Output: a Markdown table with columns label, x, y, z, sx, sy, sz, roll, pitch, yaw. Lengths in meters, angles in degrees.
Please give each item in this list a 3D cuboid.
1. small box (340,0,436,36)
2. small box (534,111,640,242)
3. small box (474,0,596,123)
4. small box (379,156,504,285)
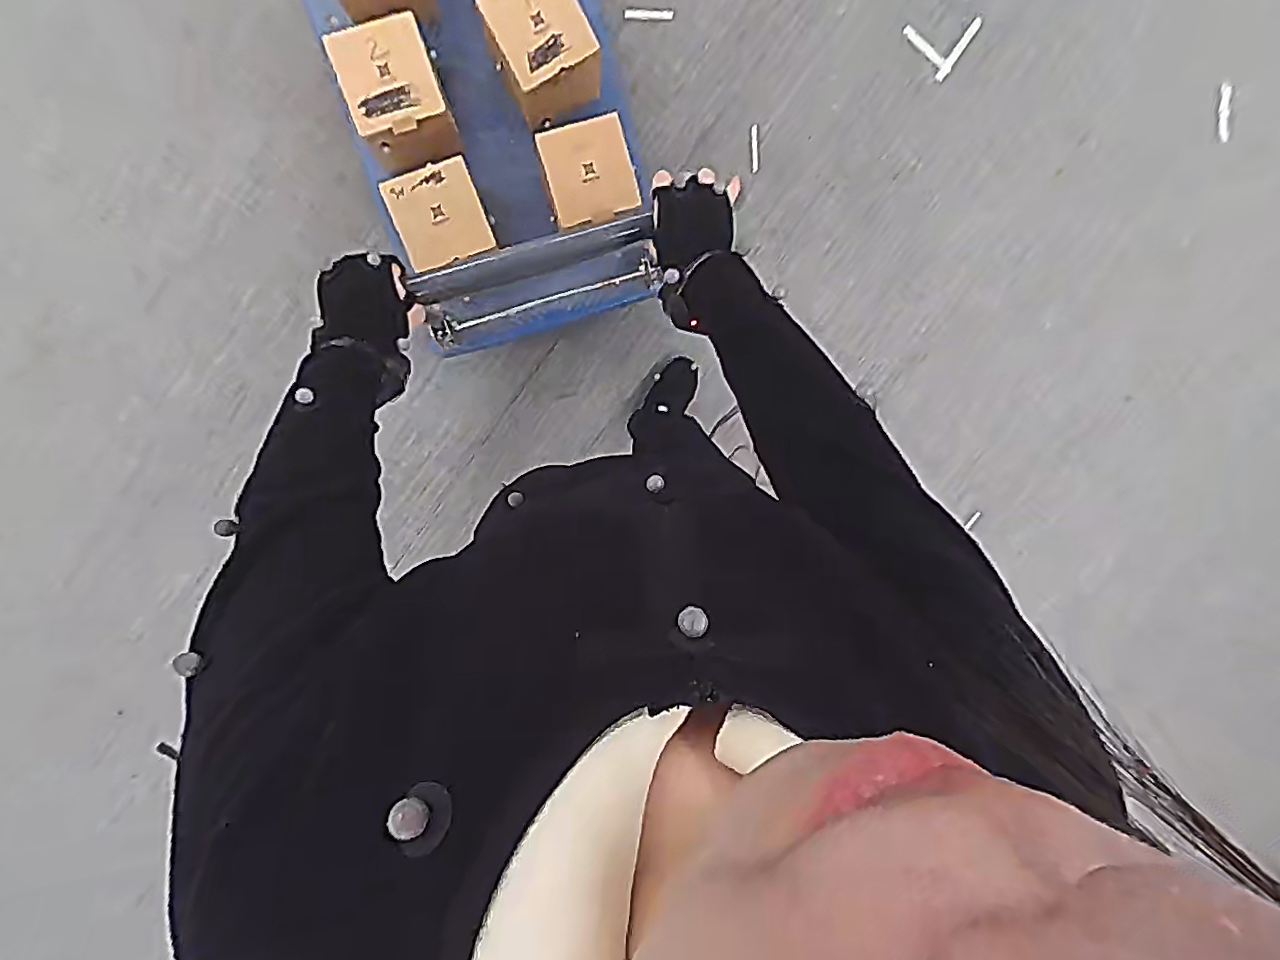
| label | x | y | z | sx | sy | sz | roll | pitch | yaw |
| --- | --- | --- | --- | --- | --- | --- | --- | --- | --- |
| small box | -0.503 | -0.987 | 1.004 | 0.168 | 0.176 | 0.179 | -16 | 101 | -3 |
| small box | -0.107 | -0.608 | 1.113 | 0.168 | 0.176 | 0.179 | -18 | 100 | -4 |
| small box | -0.197 | -0.845 | 1.063 | 0.168 | 0.176 | 0.179 | -30 | 100 | -1 |
| small box | -0.388 | -0.510 | 1.095 | 0.168 | 0.176 | 0.179 | -22 | 101 | -4 |
